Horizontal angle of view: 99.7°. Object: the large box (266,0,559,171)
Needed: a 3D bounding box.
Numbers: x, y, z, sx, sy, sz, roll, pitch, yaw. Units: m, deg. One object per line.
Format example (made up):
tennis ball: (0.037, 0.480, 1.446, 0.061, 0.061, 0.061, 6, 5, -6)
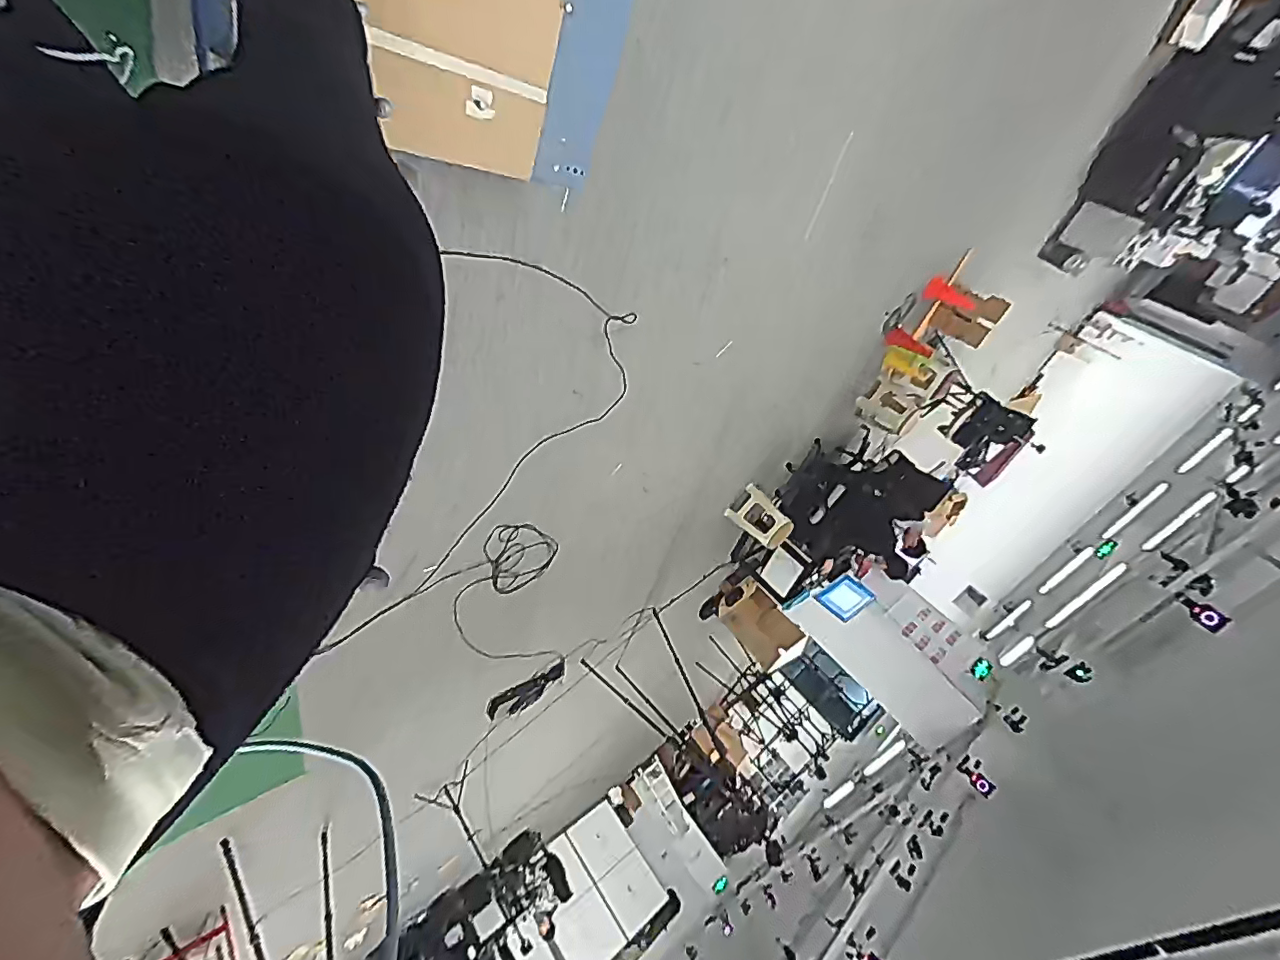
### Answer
large box: (-0.425, -0.822, 0.997, 0.408, 0.320, 0.320, -13, 139, -42)
